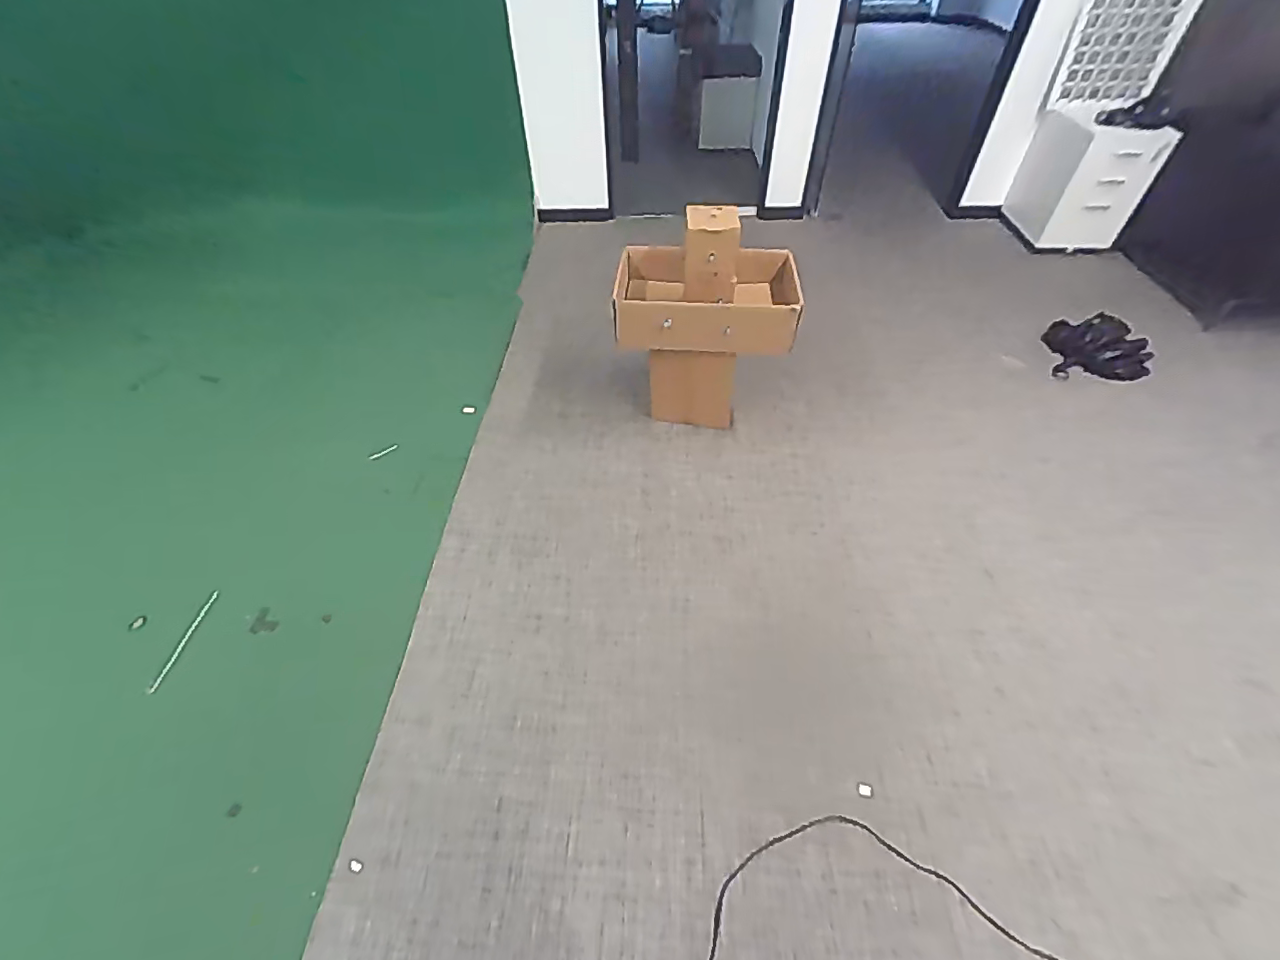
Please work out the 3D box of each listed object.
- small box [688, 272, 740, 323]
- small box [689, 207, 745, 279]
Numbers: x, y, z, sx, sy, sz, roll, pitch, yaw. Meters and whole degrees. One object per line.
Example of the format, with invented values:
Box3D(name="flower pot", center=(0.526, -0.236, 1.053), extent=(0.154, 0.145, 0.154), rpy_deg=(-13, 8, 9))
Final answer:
Box3D(name="small box", center=(0.257, -0.666, 1.900), extent=(0.168, 0.176, 0.179), rpy_deg=(2, 46, 1))
Box3D(name="small box", center=(0.249, -0.778, 1.781), extent=(0.168, 0.176, 0.179), rpy_deg=(2, 49, 1))
